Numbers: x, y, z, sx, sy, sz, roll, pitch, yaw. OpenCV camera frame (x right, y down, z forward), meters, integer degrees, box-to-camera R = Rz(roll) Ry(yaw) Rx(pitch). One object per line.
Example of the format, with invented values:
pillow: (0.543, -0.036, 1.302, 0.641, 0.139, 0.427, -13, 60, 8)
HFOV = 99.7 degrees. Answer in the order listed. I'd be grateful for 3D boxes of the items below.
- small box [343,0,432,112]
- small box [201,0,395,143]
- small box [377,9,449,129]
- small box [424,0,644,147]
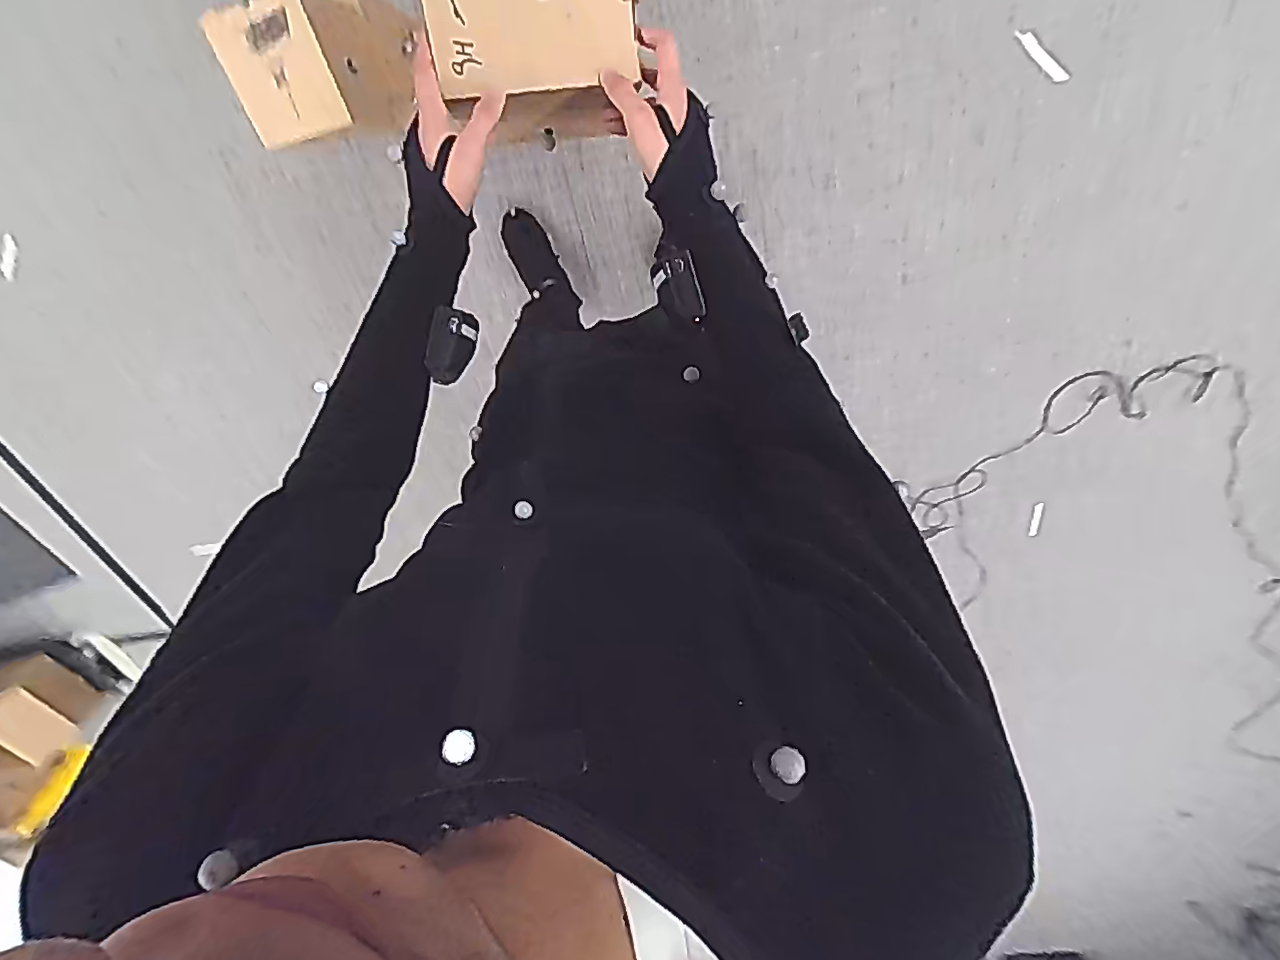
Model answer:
small box: (-0.524, -0.784, 1.007, 0.179, 0.176, 0.168, -13, 122, 11)
small box: (-0.540, -0.672, 0.885, 0.168, 0.176, 0.179, -9, 123, 10)
small box: (-0.531, -0.869, 1.148, 0.168, 0.176, 0.179, -12, 122, 10)
small box: (-0.101, -0.433, 0.512, 0.179, 0.176, 0.168, -9, 110, -6)
